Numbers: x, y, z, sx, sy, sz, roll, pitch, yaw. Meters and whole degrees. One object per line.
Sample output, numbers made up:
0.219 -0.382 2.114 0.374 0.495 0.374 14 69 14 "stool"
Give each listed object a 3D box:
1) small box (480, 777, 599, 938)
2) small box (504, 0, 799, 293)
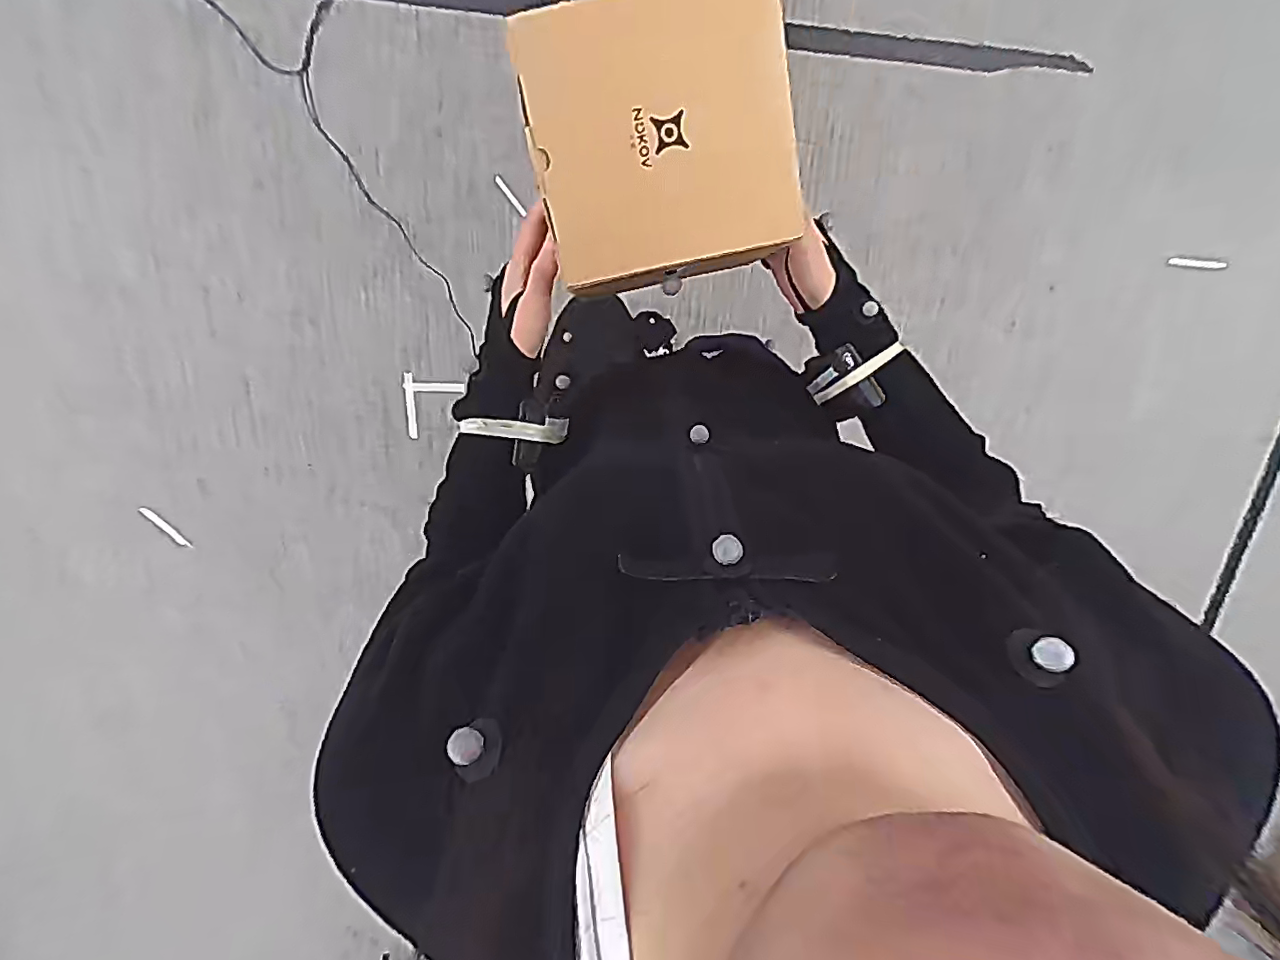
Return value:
-0.171 0.658 0.958 0.179 0.176 0.168 7 106 -4 "small box"
0.011 -0.254 0.438 0.179 0.176 0.168 -12 106 3 "small box"
